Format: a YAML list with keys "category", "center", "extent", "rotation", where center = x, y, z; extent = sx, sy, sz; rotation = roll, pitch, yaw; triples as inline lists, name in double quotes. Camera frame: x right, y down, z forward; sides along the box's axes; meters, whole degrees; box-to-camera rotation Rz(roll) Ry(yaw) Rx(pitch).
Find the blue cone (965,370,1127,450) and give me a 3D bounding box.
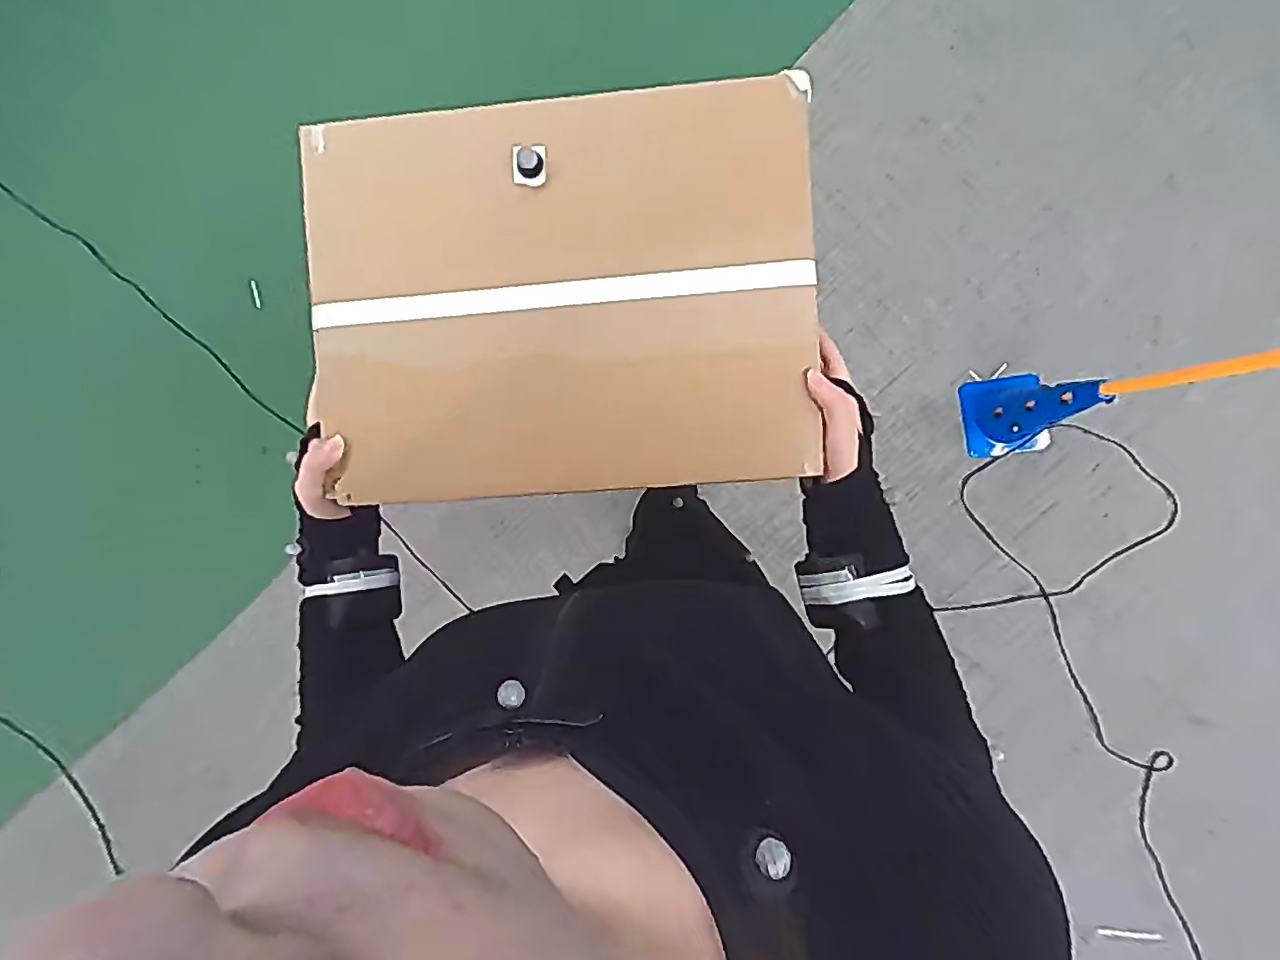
- category: "blue cone"
  center: [0.928, -0.185, 1.225]
  extent: [0.192, 0.380, 0.193]
  rotation: [-10, 86, 5]
